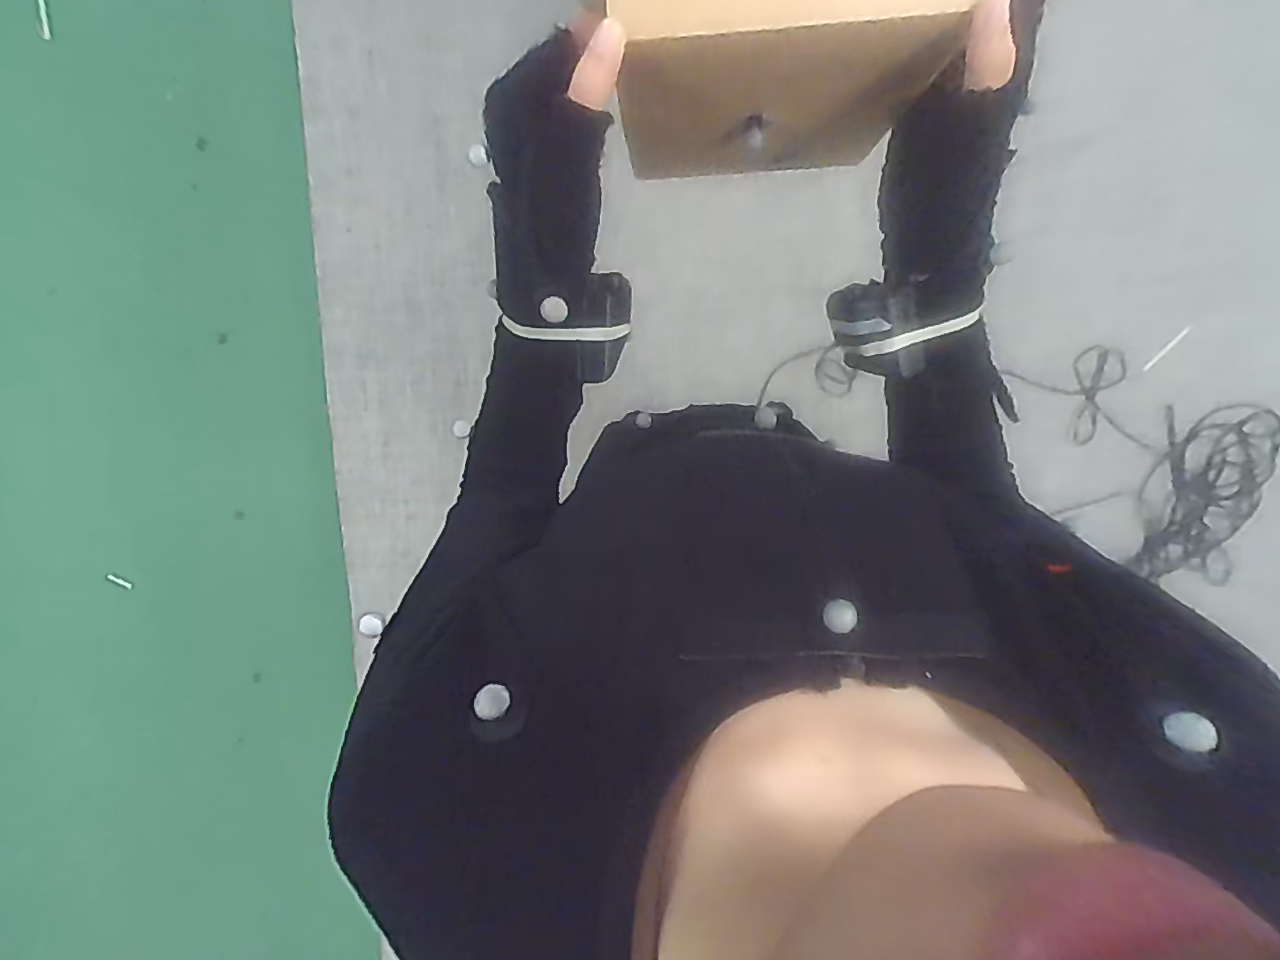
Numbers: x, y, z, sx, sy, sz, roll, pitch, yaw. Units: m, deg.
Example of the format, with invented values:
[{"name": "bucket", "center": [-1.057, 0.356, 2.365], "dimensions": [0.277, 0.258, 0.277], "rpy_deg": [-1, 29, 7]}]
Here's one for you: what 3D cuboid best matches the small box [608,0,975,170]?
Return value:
[{"name": "small box", "center": [0.069, -0.299, 0.310], "dimensions": [0.168, 0.176, 0.179], "rpy_deg": [-2, 99, 3]}]
